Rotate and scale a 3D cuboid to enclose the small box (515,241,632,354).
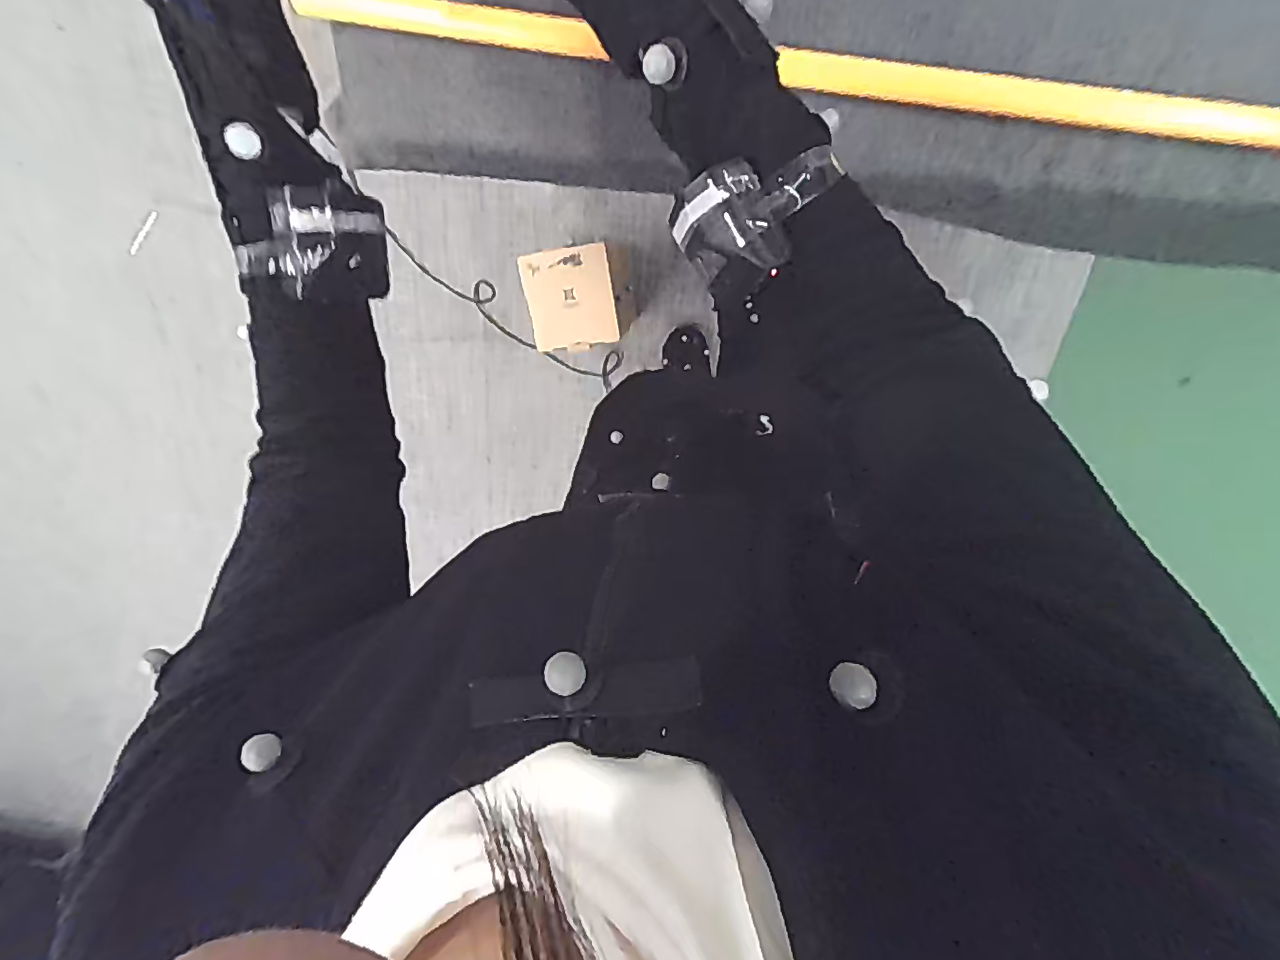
[{"bbox_3d":[-0.120,-0.363,1.067,0.168,0.176,0.179,-7,113,13],"label":"small box"}]
